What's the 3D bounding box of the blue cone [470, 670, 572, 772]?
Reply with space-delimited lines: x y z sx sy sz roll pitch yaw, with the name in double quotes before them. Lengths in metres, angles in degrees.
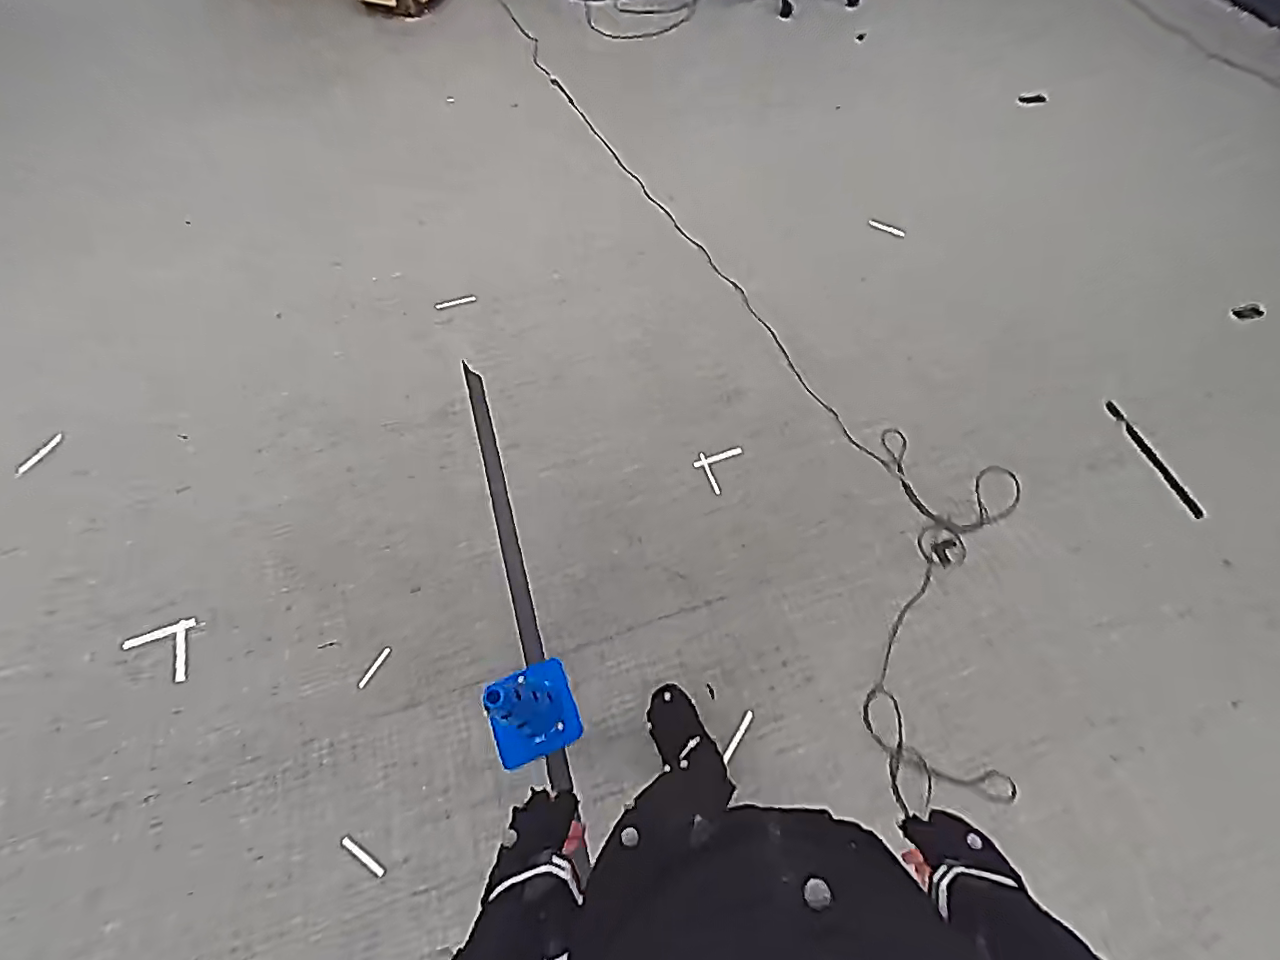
"blue cone" -0.275 0.493 1.143 0.192 0.380 0.193 -20 64 -8
